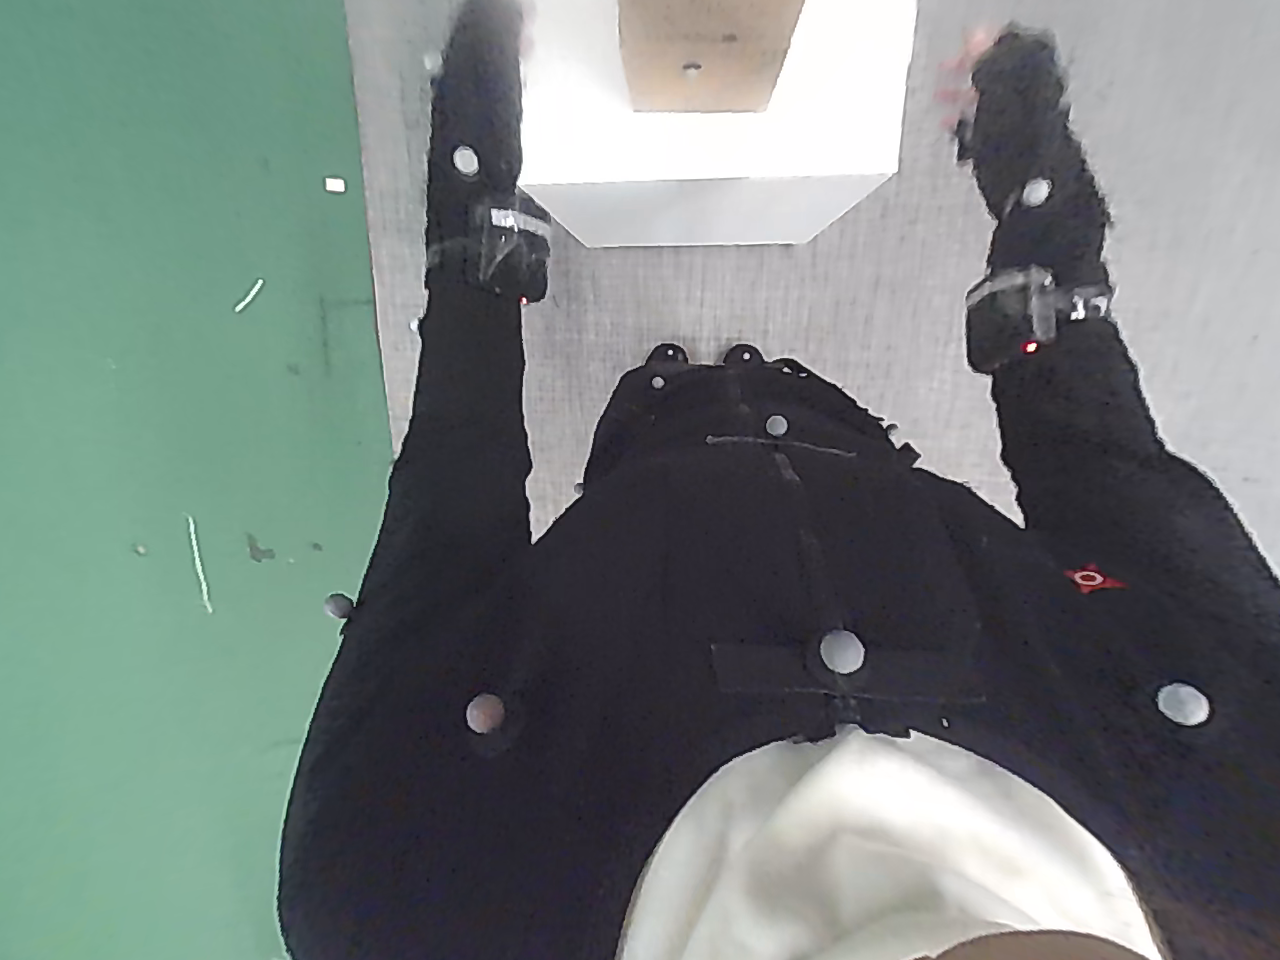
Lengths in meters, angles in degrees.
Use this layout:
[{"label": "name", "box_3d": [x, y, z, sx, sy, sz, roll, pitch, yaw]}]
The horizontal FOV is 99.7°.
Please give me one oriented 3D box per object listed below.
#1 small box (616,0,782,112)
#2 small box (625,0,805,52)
[{"label": "small box", "box_3d": [0.072, -0.540, 0.610, 0.179, 0.176, 0.168, 3, 105, 4]}, {"label": "small box", "box_3d": [0.066, -0.503, 0.453, 0.168, 0.176, 0.179, 1, 105, 3]}]
